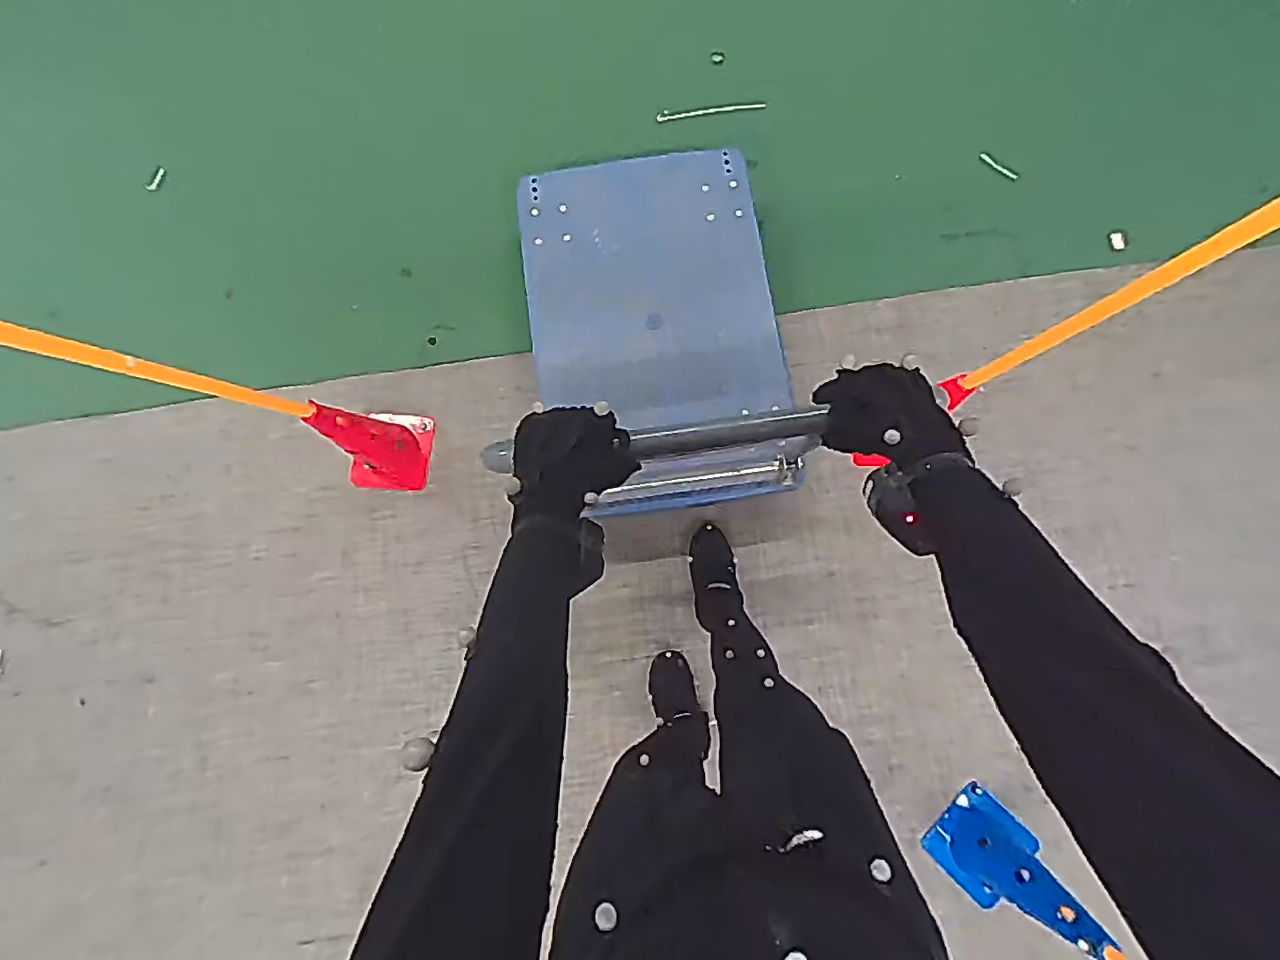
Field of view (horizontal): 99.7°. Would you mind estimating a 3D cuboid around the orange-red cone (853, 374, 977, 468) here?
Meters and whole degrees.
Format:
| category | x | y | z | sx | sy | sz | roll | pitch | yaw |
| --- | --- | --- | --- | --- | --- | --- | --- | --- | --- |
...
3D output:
| category | x | y | z | sx | sy | sz | roll | pitch | yaw |
| --- | --- | --- | --- | --- | --- | --- | --- | --- | --- |
| orange-red cone | 0.643 | -0.158 | 1.222 | 0.198 | 0.360 | 0.199 | 3 | 81 | 2 |
